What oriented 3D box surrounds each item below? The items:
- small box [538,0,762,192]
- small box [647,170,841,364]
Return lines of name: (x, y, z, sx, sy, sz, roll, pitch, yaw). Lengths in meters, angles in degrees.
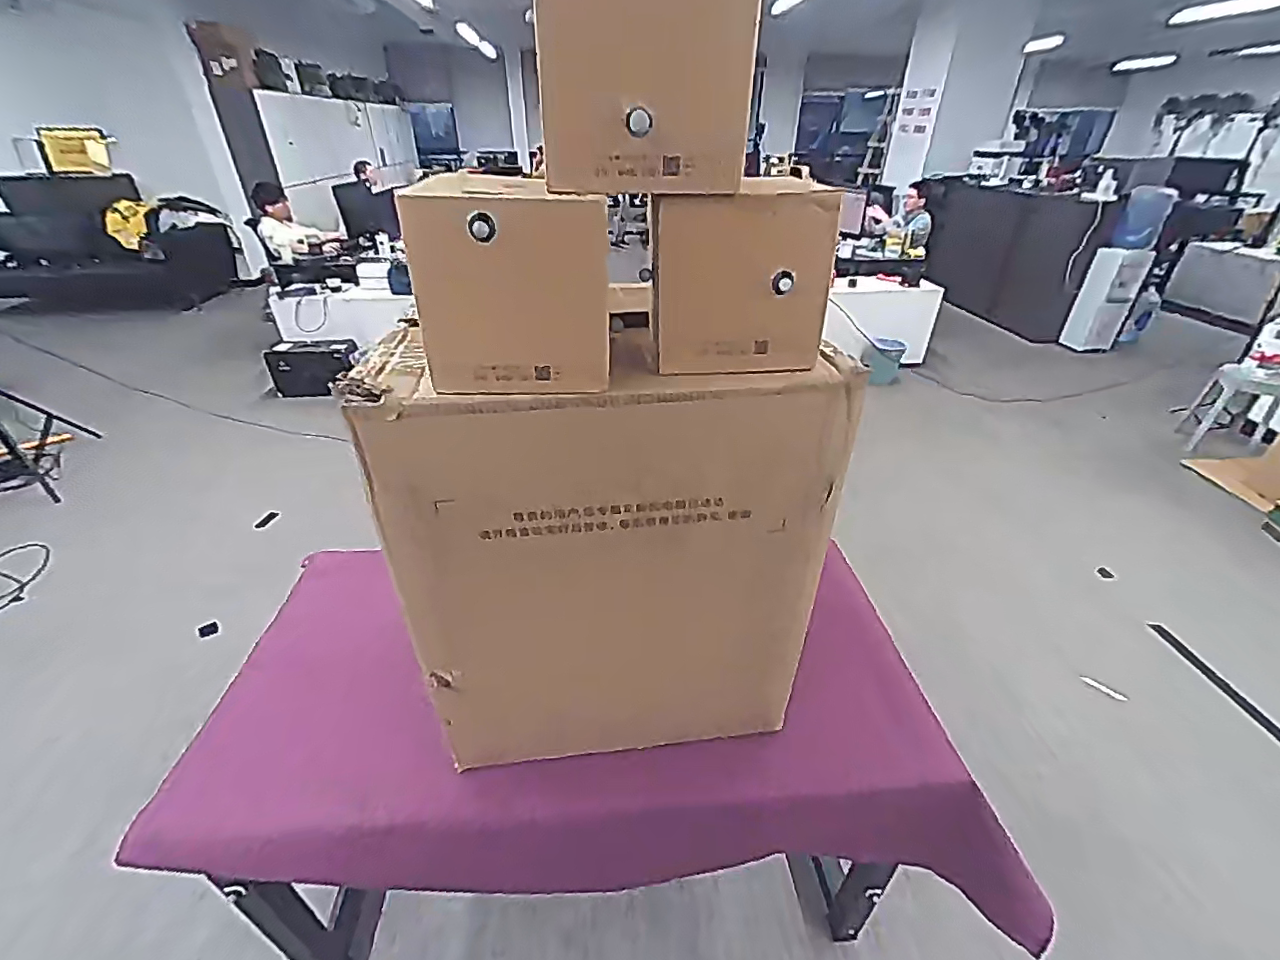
small box: (0.001, -0.358, 0.476, 0.168, 0.176, 0.179, -2, 33, -4)
small box: (0.095, -0.229, 0.579, 0.168, 0.176, 0.179, -2, 31, -2)
